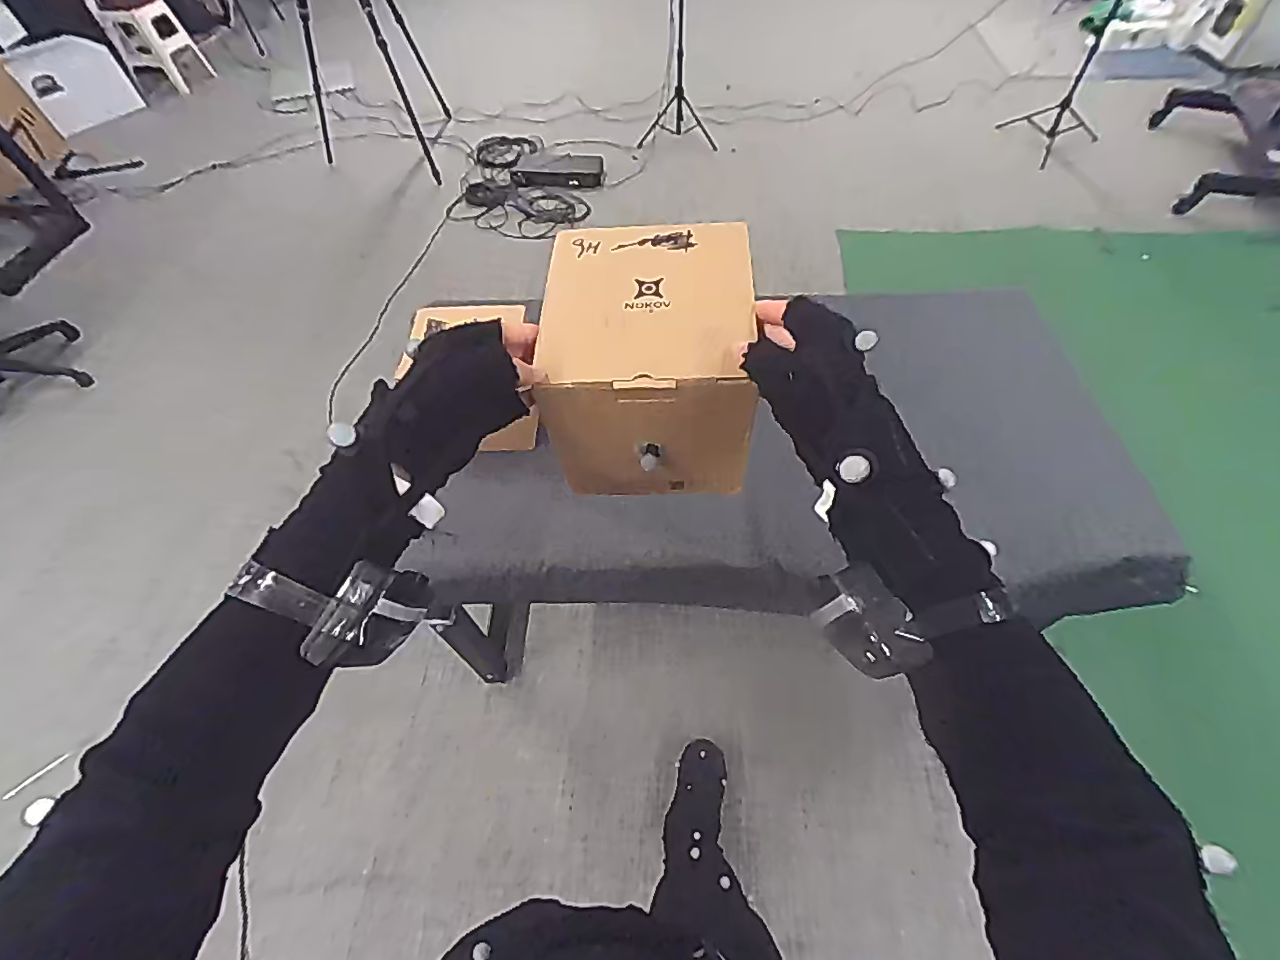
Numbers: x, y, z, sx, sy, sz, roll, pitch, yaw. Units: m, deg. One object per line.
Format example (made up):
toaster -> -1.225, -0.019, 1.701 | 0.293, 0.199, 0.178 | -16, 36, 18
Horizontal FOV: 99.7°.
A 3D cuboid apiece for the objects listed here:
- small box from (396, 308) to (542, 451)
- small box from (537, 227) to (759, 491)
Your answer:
small box -> -0.262, -0.159, 0.882 | 0.179, 0.176, 0.168 | -1, 55, 0
small box -> 0.015, -0.100, 0.496 | 0.168, 0.176, 0.179 | 0, 61, 5
